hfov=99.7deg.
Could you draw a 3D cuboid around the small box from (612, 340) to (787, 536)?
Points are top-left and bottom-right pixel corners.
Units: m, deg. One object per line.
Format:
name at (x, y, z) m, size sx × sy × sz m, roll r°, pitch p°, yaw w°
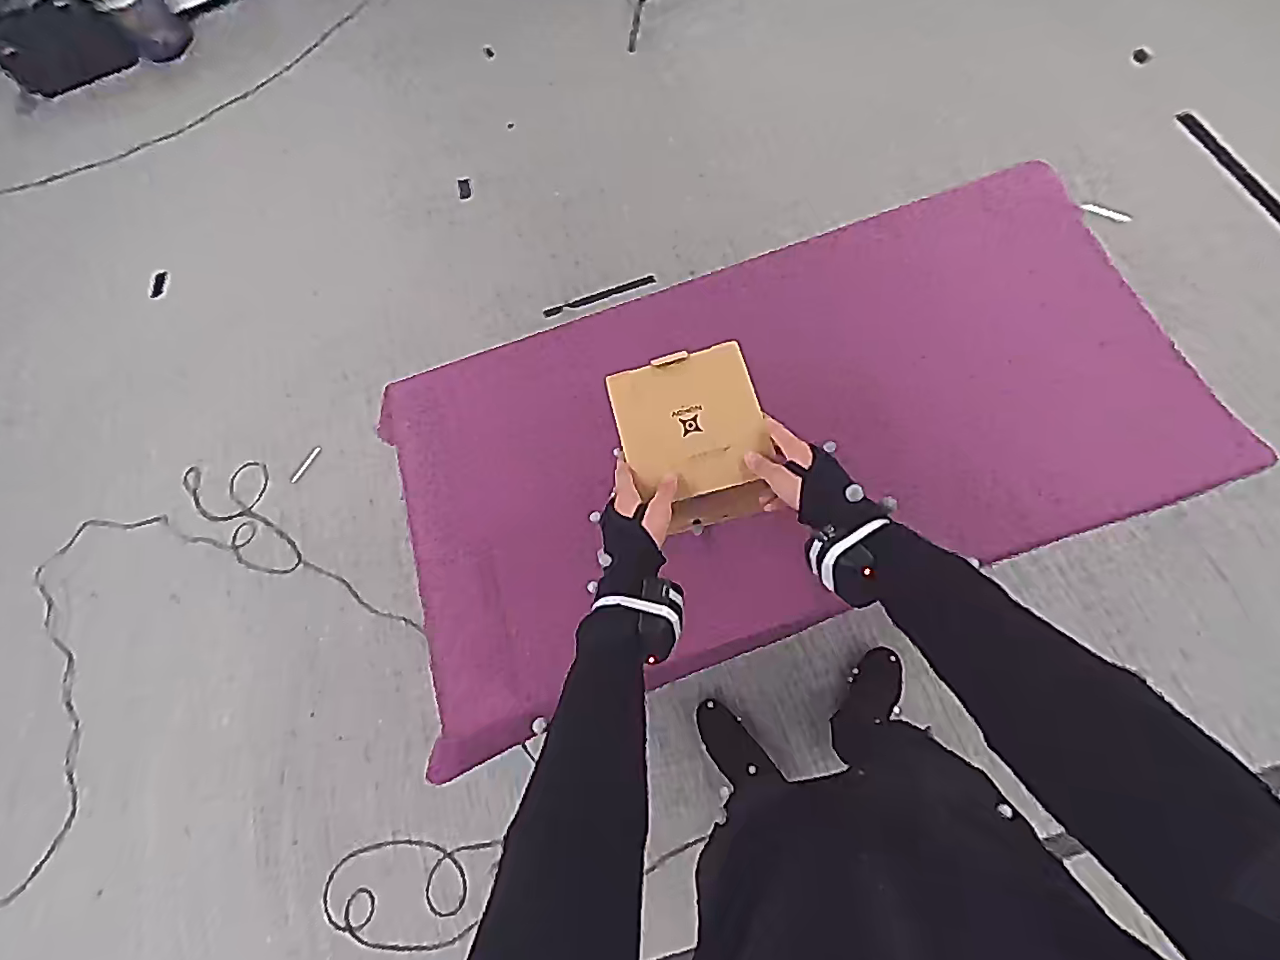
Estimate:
small box at (0.071, -0.043, 0.689) m, size 0.168 × 0.176 × 0.179 m, roll -15°, pitch 71°, yaw 2°
